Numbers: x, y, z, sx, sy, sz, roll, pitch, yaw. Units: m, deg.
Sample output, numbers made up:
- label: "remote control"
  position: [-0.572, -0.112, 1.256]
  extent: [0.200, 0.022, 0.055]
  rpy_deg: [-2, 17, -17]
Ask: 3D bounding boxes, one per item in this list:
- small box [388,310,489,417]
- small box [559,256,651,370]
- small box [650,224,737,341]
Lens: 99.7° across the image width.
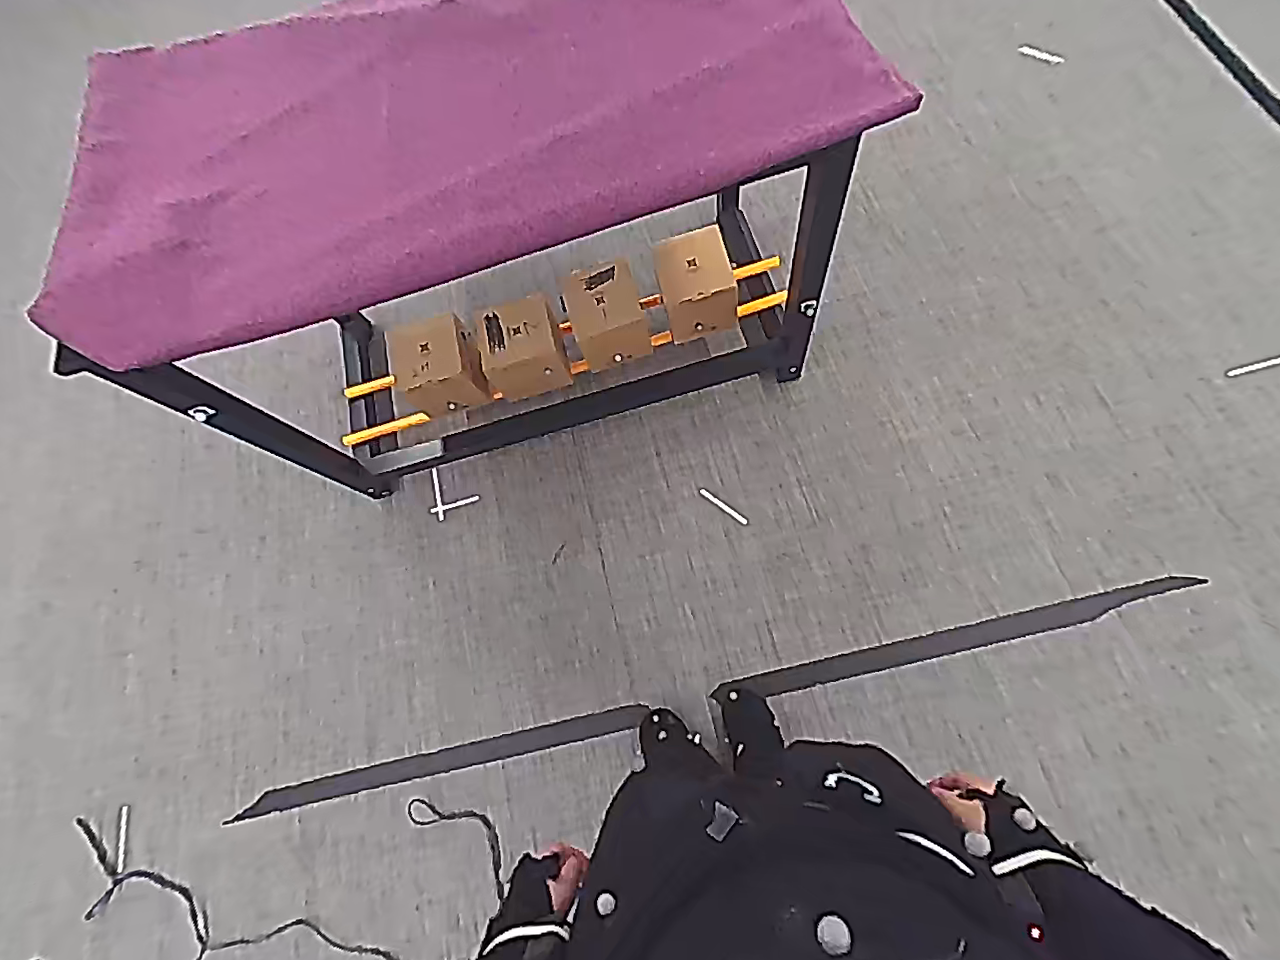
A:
- label: "small box"
  position: [-0.490, -0.280, 1.329]
  extent: [0.168, 0.176, 0.179]
  rpy_deg: [-16, 73, 4]
- label: "small box"
  position: [-0.080, -0.396, 1.306]
  extent: [0.168, 0.176, 0.179]
  rpy_deg: [-18, 74, 4]
- label: "small box"
  position: [0.129, -0.465, 1.292]
  extent: [0.168, 0.176, 0.179]
  rpy_deg: [-15, 73, 5]
